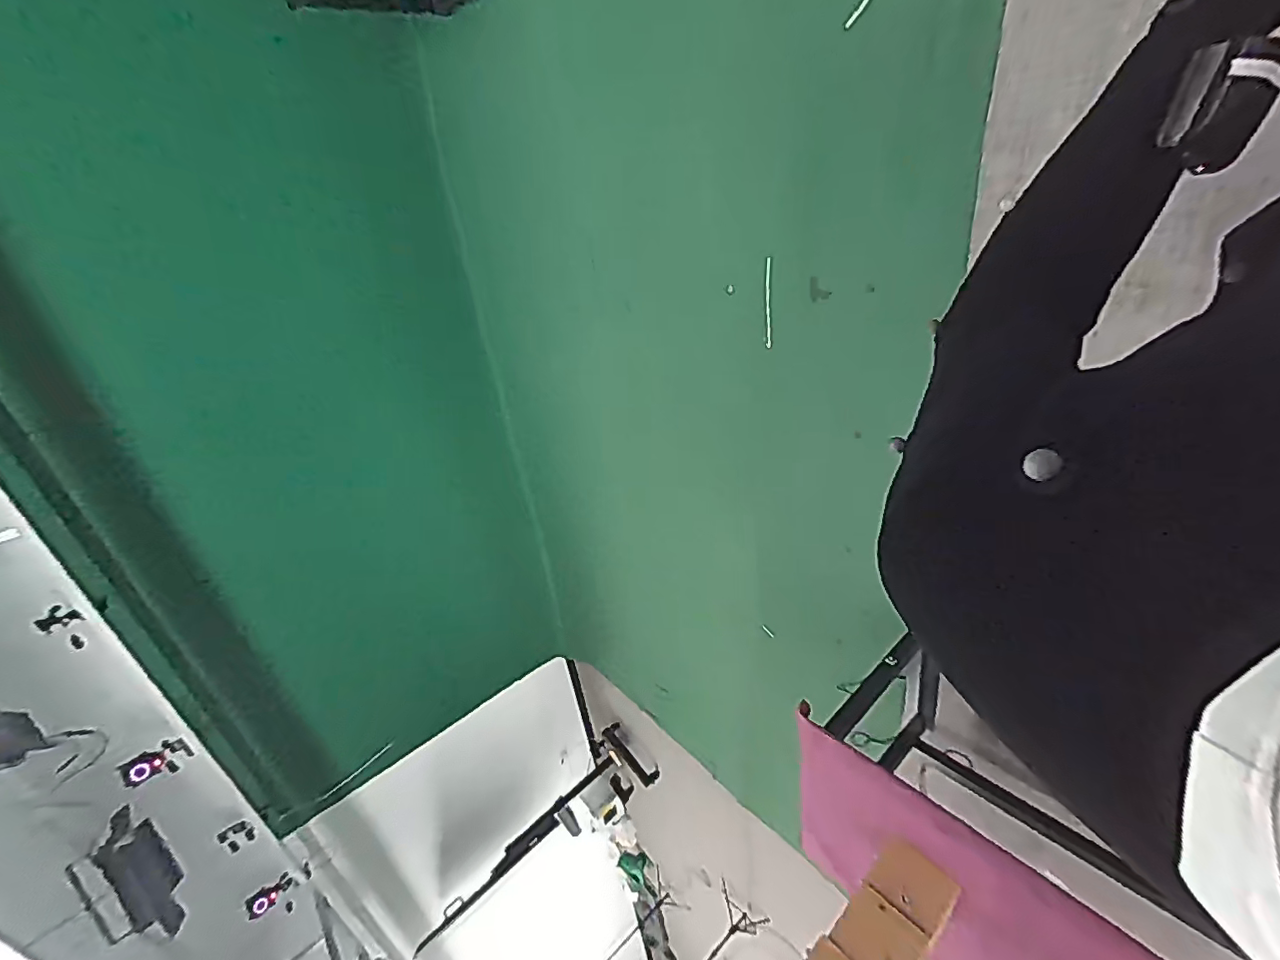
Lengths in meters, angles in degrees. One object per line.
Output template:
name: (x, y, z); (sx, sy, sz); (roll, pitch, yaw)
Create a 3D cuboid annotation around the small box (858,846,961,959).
small box: (0.684, 1.091, 1.375); (0.179, 0.176, 0.168); (25, 132, 44)
